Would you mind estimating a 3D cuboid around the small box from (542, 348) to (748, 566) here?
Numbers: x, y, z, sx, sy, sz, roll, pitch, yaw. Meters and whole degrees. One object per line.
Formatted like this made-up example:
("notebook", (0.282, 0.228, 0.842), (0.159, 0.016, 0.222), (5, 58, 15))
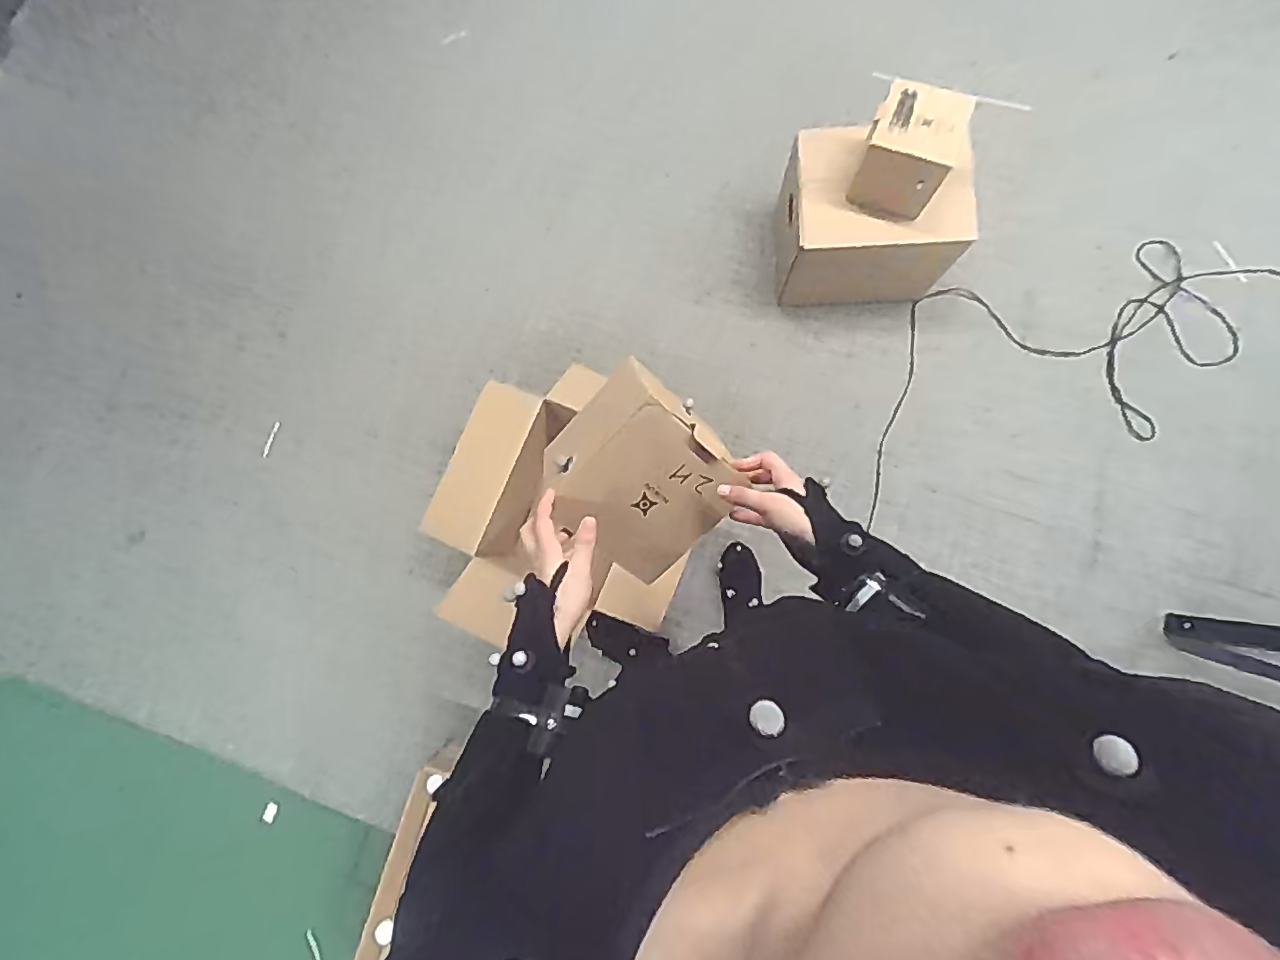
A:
("small box", (-0.001, -0.035, 0.672), (0.168, 0.176, 0.179), (39, 104, -23))
